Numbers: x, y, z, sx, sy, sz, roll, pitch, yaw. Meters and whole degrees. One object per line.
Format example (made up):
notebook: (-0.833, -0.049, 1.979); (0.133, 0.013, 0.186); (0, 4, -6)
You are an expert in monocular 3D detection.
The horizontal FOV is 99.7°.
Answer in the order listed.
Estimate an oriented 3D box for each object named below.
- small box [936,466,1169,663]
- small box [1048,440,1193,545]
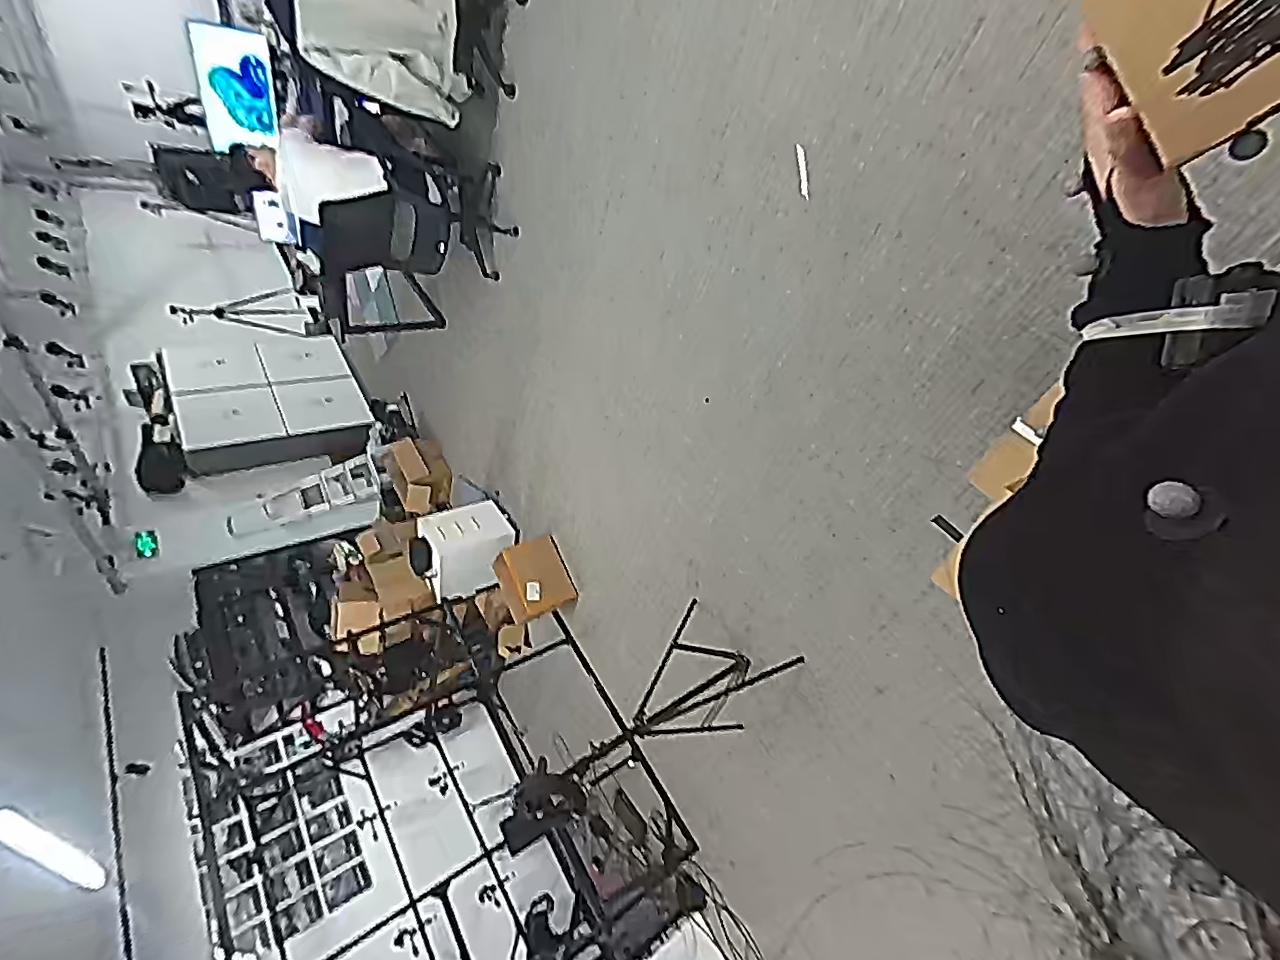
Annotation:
small box: (0.549, 0.102, 0.724); (0.168, 0.176, 0.179); (47, 136, 34)
small box: (0.677, 0.060, 0.821); (0.168, 0.176, 0.179); (49, 138, 31)
